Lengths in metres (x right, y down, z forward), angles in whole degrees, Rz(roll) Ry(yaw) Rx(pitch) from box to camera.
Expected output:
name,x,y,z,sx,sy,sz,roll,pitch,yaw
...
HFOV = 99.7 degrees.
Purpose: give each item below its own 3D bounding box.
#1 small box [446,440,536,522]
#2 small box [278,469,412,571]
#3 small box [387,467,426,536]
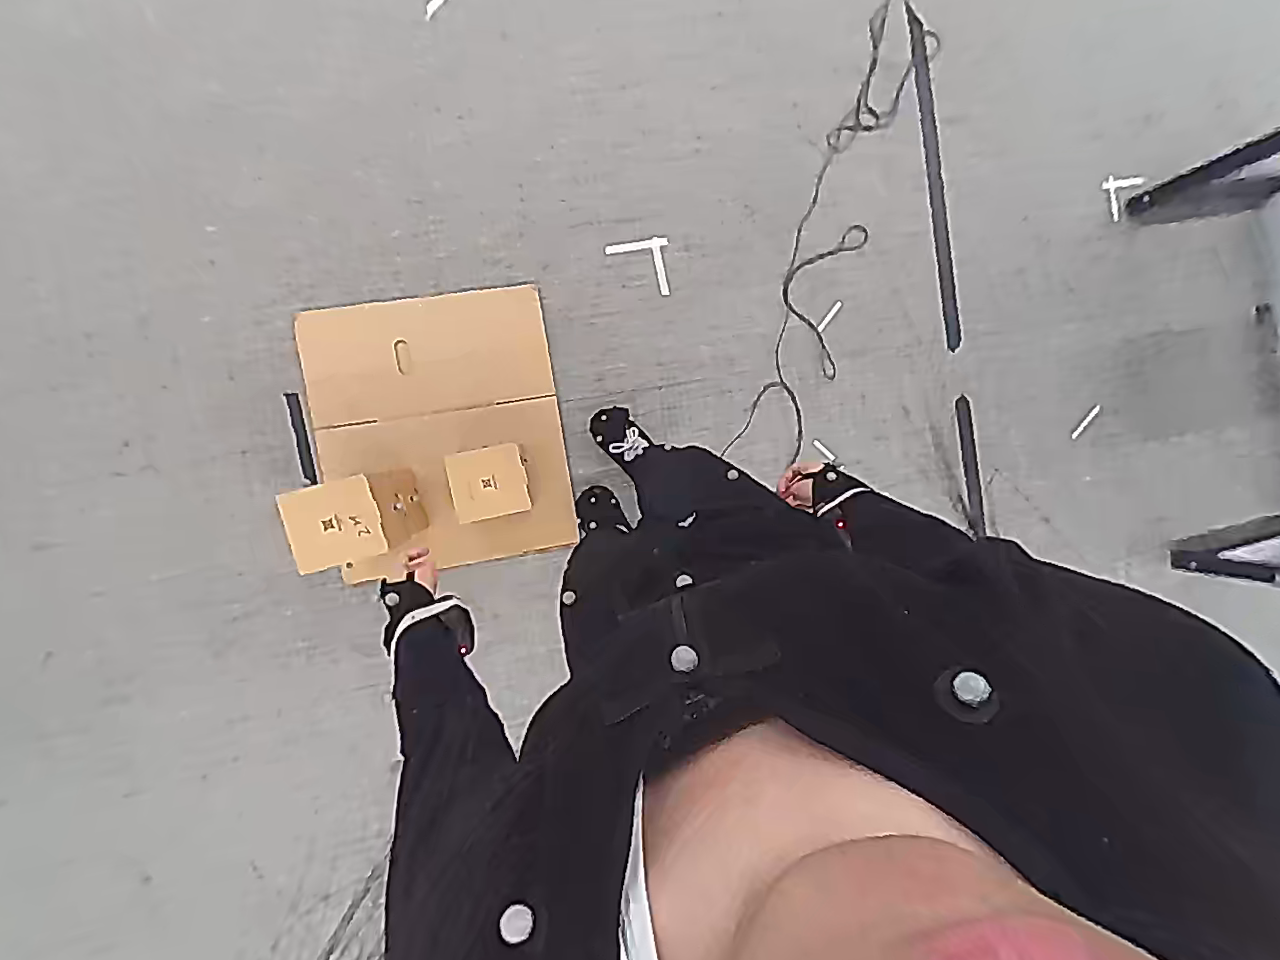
name,x,y,z,sx,sy,sz,roll,pitch,yaw
small box,-0.359,-0.002,1.338,0.179,0.176,0.168,-13,93,-7
small box,-0.607,0.078,1.136,0.179,0.176,0.168,-16,95,-7
small box,-0.630,0.068,1.299,0.179,0.176,0.168,-17,94,-8
